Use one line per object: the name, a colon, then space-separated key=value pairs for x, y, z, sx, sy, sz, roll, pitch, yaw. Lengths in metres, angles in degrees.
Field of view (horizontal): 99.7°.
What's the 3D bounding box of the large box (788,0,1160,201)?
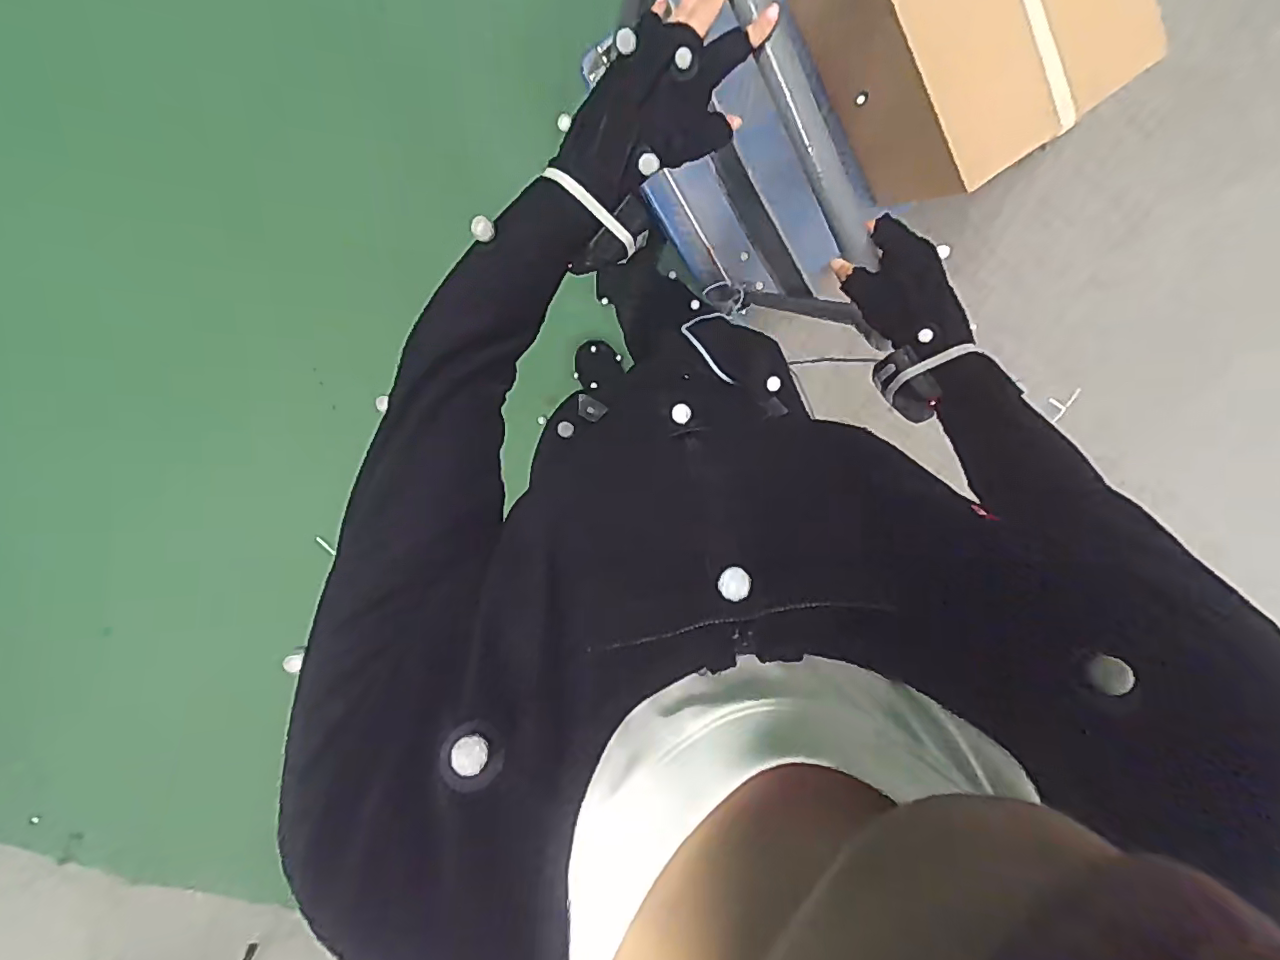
large box: x=0.501 y=-0.736 z=0.873 sx=0.320 sy=0.320 sz=0.408 roll=-34 pitch=110 yaw=11
